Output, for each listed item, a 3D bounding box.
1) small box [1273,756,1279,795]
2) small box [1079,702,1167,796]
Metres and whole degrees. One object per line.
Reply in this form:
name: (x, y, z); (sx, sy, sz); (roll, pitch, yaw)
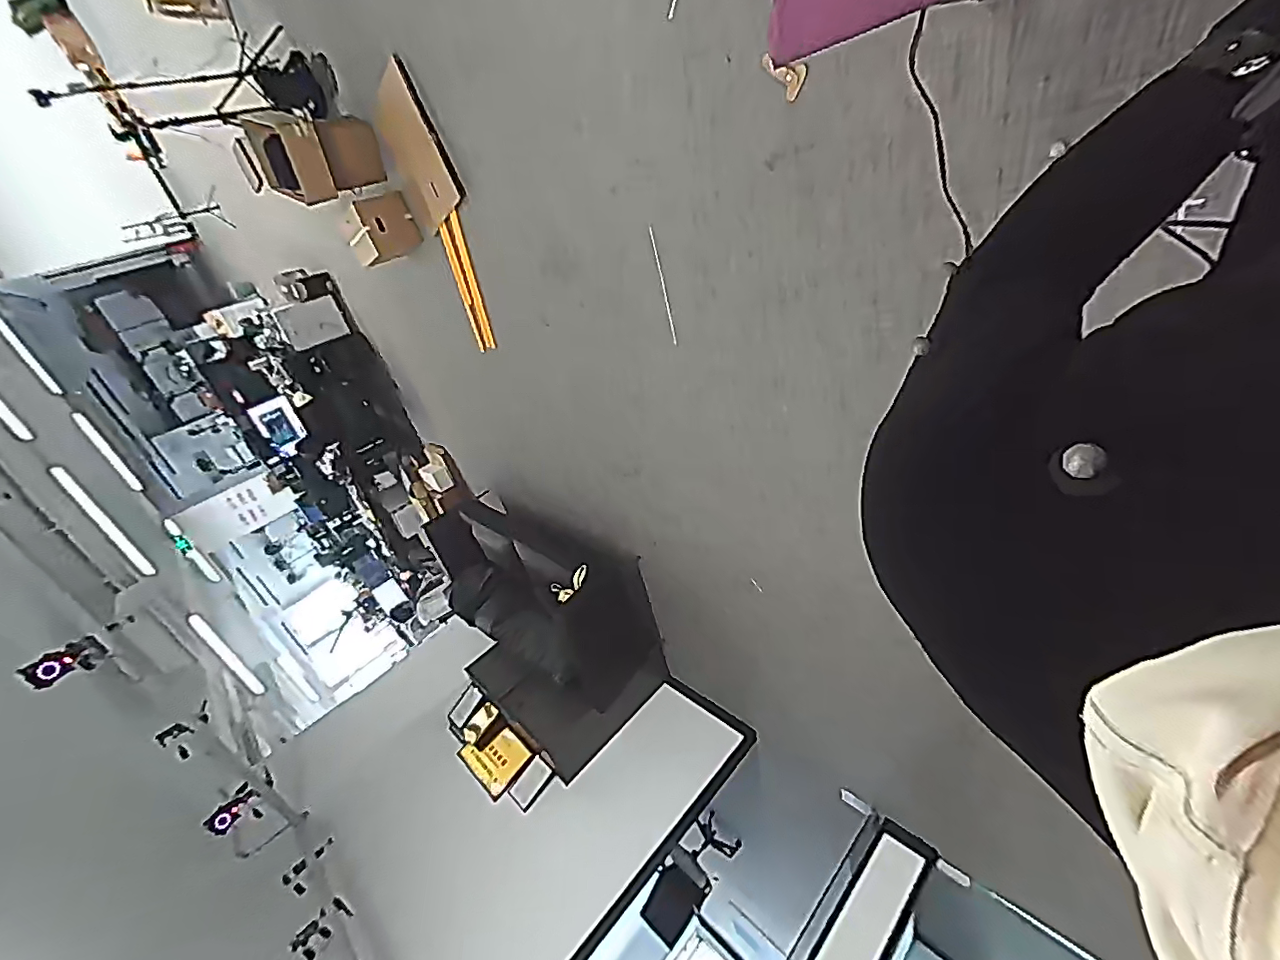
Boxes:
small box: (1.733, 0.718, 1.341); (0.168, 0.176, 0.179); (19, 136, 44)
small box: (1.549, 0.855, 1.733); (0.168, 0.176, 0.179); (21, 137, 43)
